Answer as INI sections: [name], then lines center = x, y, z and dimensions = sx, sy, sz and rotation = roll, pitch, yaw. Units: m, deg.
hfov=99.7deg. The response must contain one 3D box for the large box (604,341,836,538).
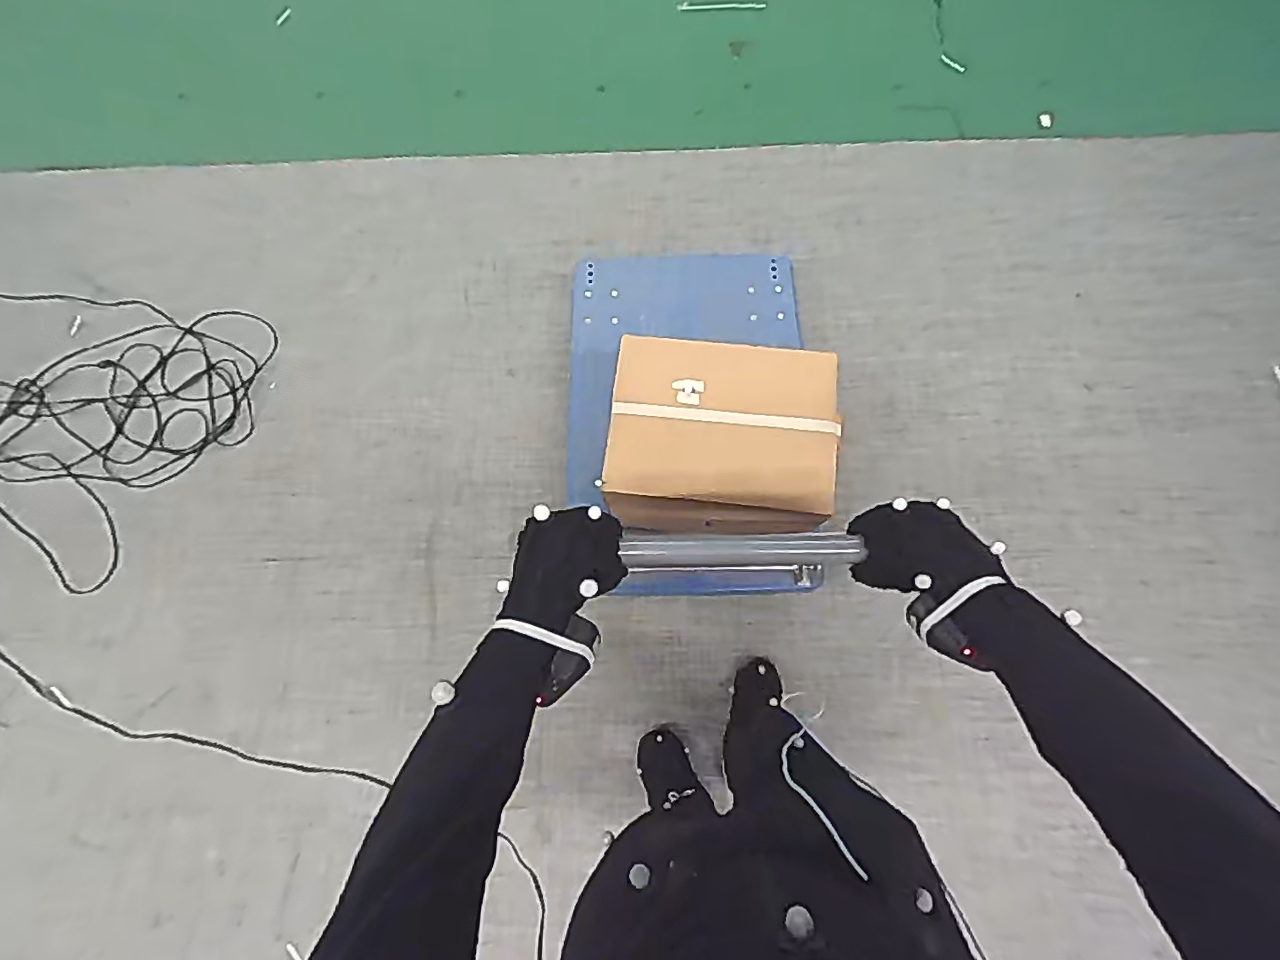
[large box]
center = 0.157, -0.065, 1.111
dimensions = 0.408, 0.320, 0.320
rotation = 5, 73, 5
